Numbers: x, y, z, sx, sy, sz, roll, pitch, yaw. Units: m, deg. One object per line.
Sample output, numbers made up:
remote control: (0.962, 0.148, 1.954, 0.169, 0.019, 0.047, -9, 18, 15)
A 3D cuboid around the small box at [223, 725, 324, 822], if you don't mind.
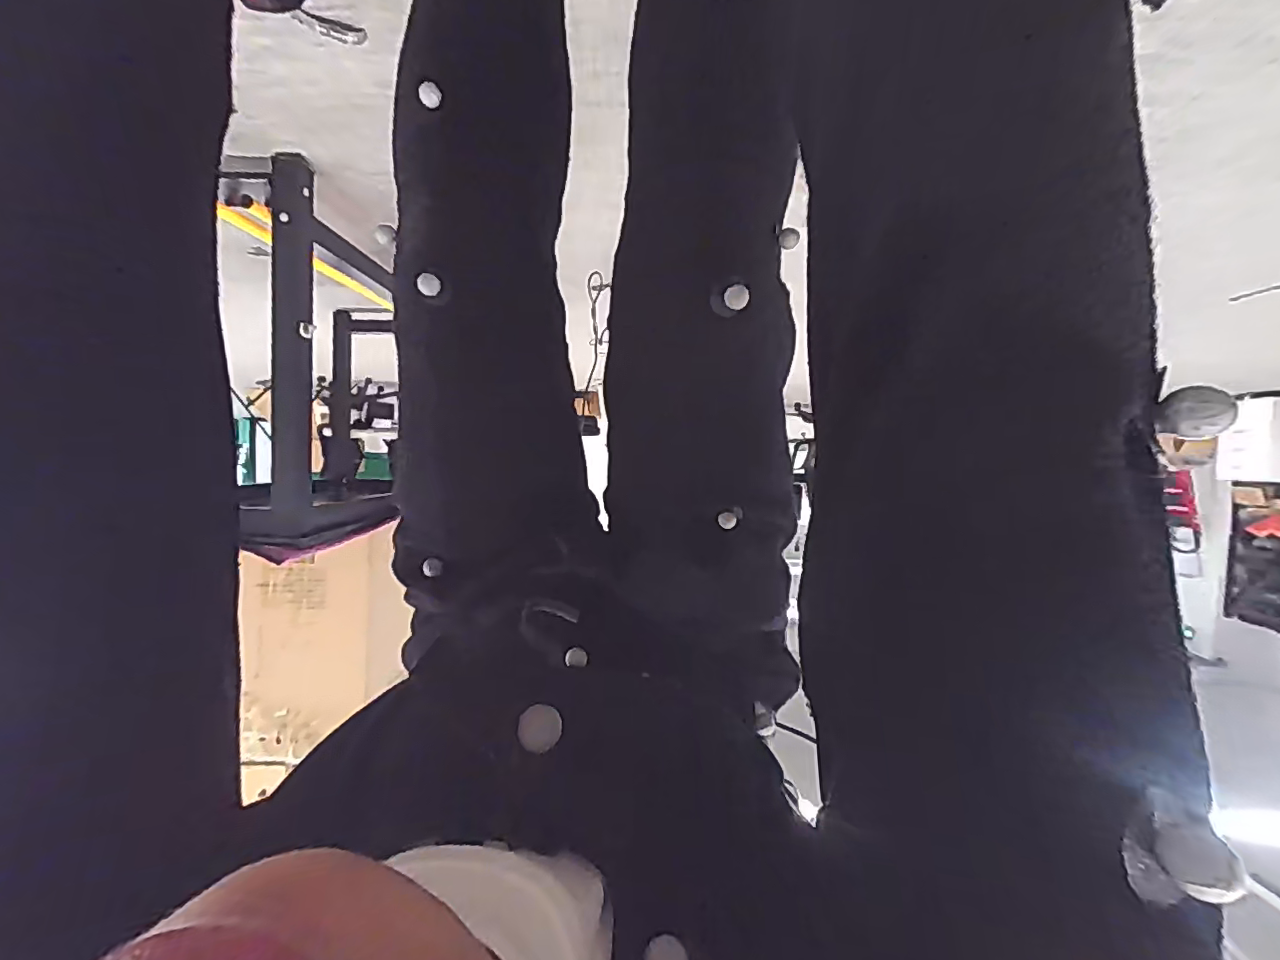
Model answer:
small box: (-1.003, 0.798, 1.484, 0.168, 0.176, 0.179, 2, -176, 4)
